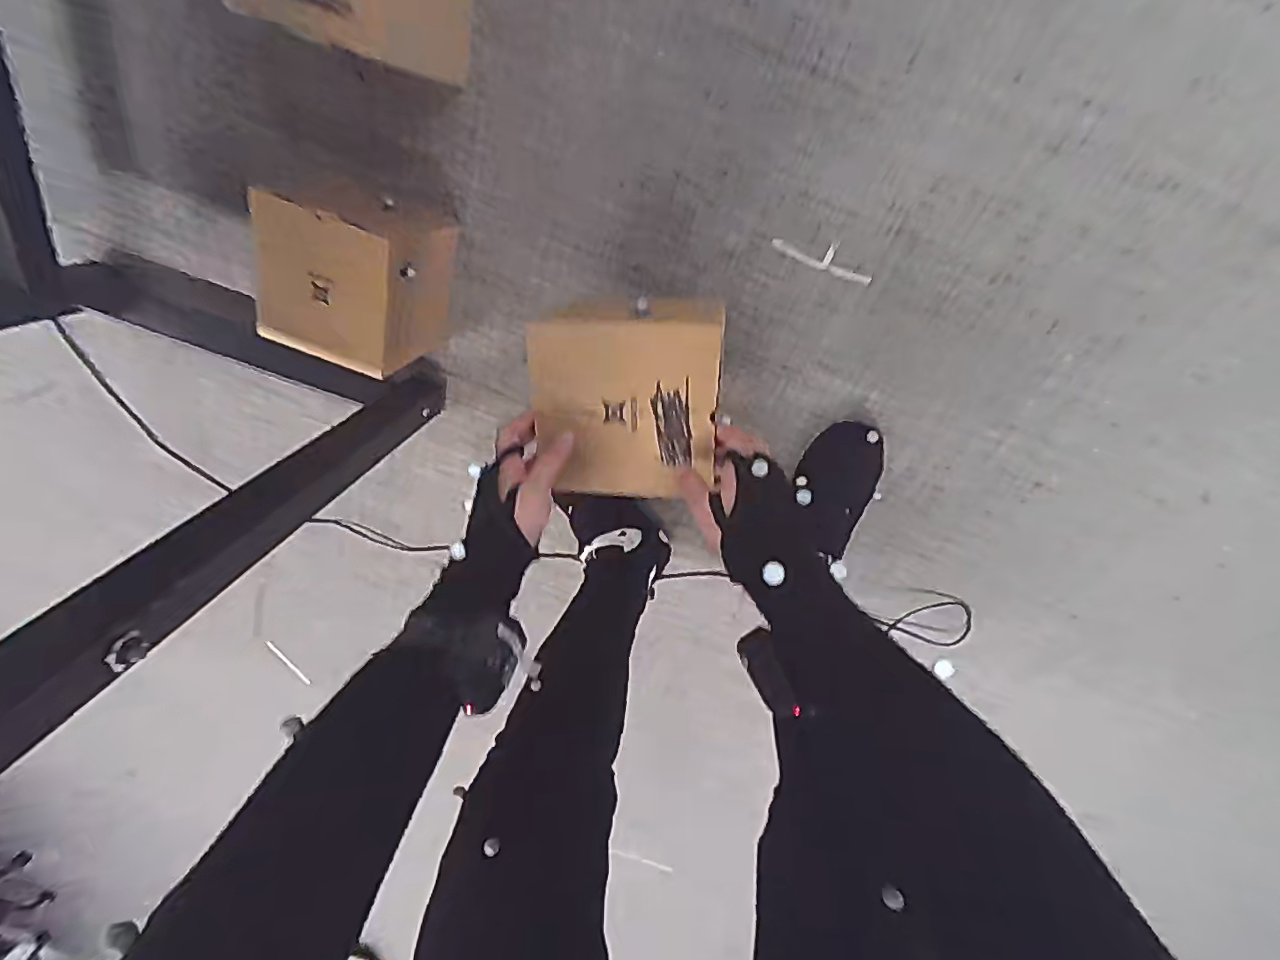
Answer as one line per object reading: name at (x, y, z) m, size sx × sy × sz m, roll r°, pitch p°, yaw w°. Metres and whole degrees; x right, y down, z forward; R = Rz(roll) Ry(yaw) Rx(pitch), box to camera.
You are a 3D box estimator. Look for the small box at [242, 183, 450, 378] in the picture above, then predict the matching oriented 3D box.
small box at (-0.363, -0.260, 0.694) m, size 0.168 × 0.176 × 0.179 m, roll 20°, pitch 121°, yaw 0°
